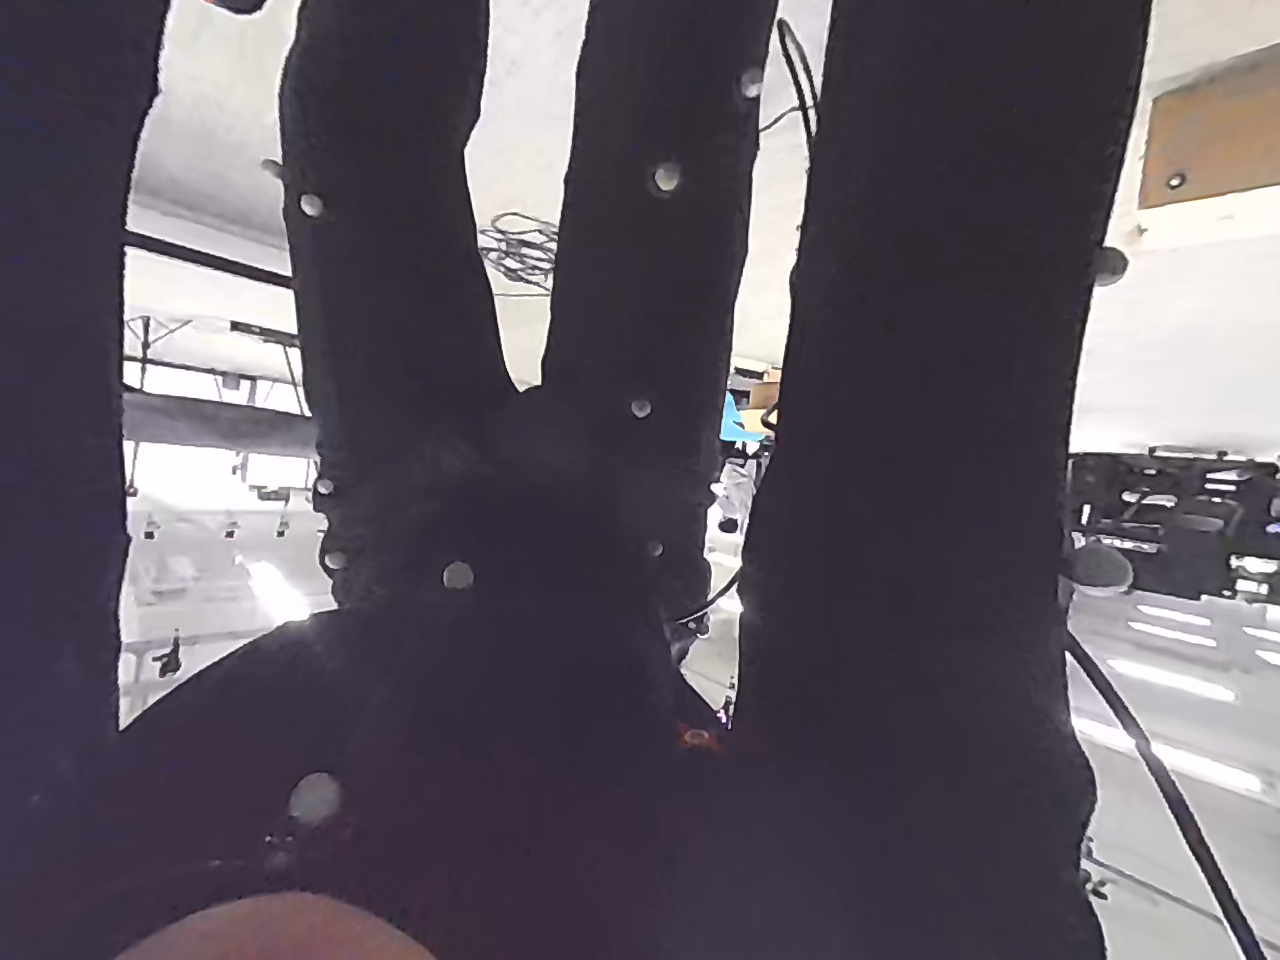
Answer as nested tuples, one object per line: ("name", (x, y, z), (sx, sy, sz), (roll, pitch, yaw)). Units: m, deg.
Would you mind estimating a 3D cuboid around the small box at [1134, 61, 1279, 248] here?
("small box", (0.847, -0.463, 0.781), (0.168, 0.176, 0.179), (5, -177, -44))
